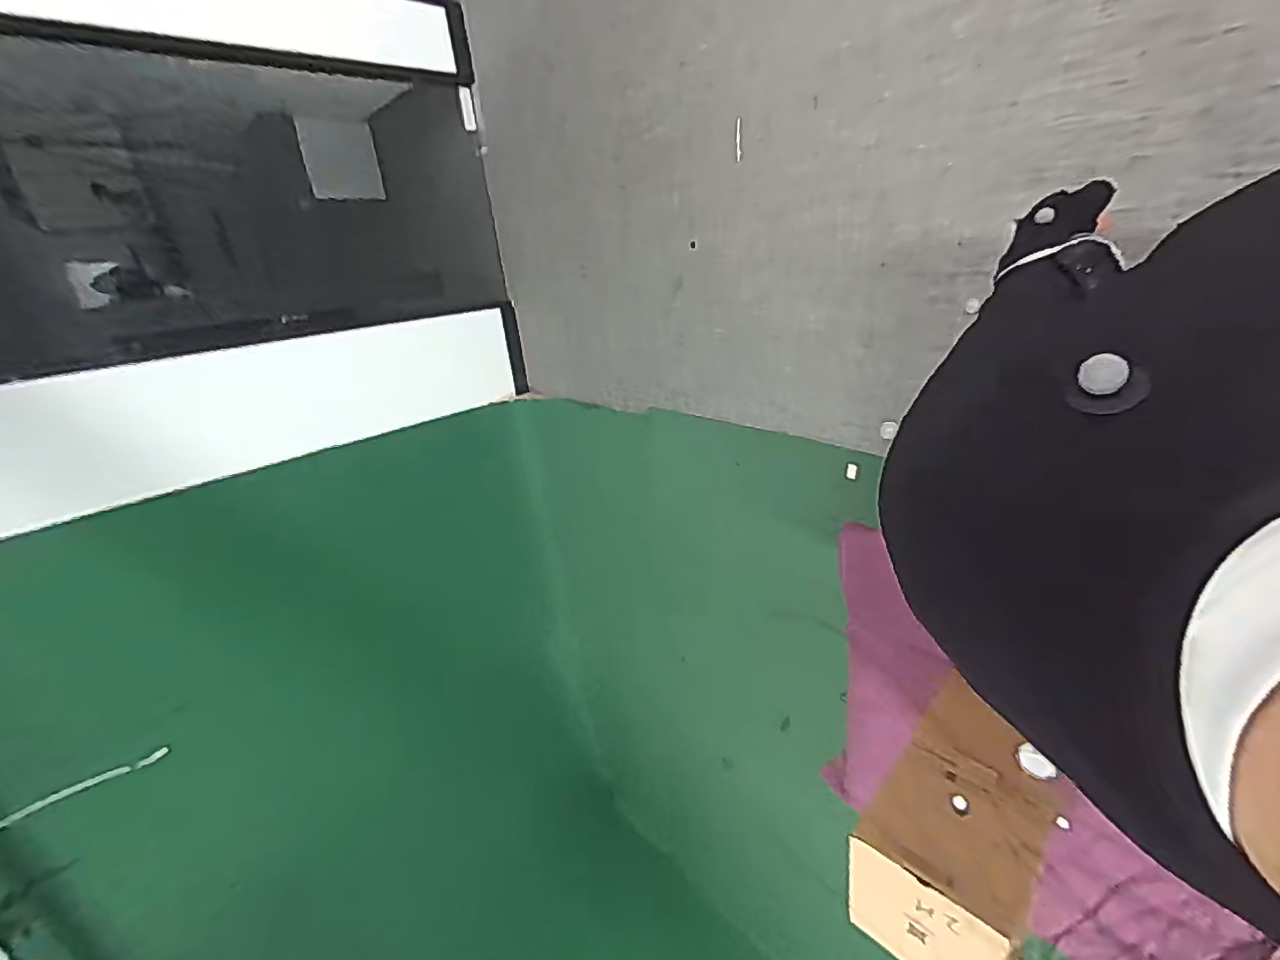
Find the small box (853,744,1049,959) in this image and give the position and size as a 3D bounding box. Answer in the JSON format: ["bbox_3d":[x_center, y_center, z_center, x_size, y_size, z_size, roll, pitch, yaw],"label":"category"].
[{"bbox_3d":[0.386,0.483,0.678,0.168,0.176,0.179,15,121,45],"label":"small box"}]
